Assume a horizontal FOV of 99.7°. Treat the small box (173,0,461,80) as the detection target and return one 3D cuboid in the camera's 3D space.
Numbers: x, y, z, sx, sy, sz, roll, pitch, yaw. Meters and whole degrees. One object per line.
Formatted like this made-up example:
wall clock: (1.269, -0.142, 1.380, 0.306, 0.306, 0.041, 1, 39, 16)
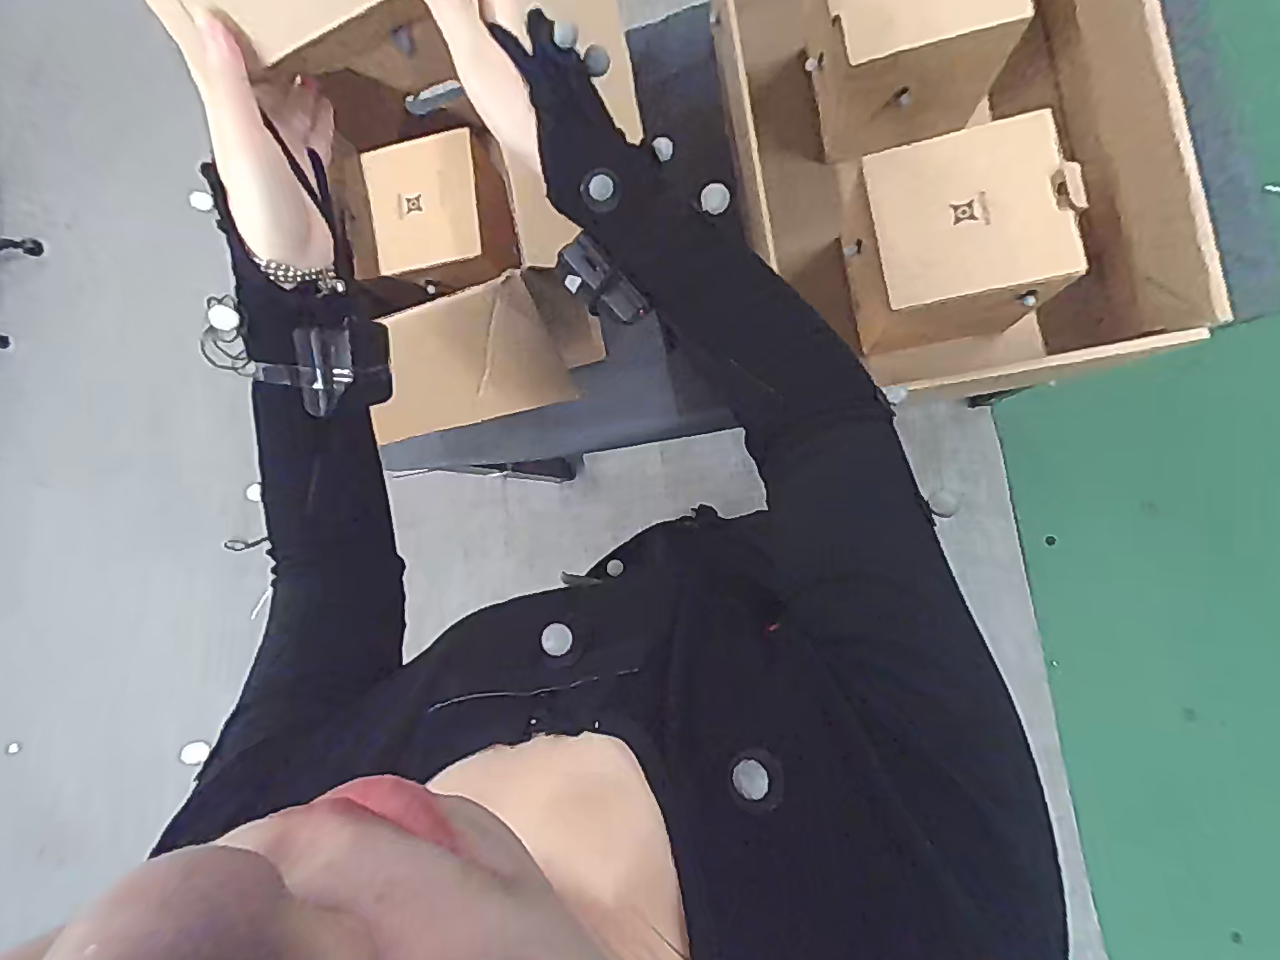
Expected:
small box: (-0.179, -0.355, 0.289, 0.168, 0.179, 0.176, -14, 42, 13)
